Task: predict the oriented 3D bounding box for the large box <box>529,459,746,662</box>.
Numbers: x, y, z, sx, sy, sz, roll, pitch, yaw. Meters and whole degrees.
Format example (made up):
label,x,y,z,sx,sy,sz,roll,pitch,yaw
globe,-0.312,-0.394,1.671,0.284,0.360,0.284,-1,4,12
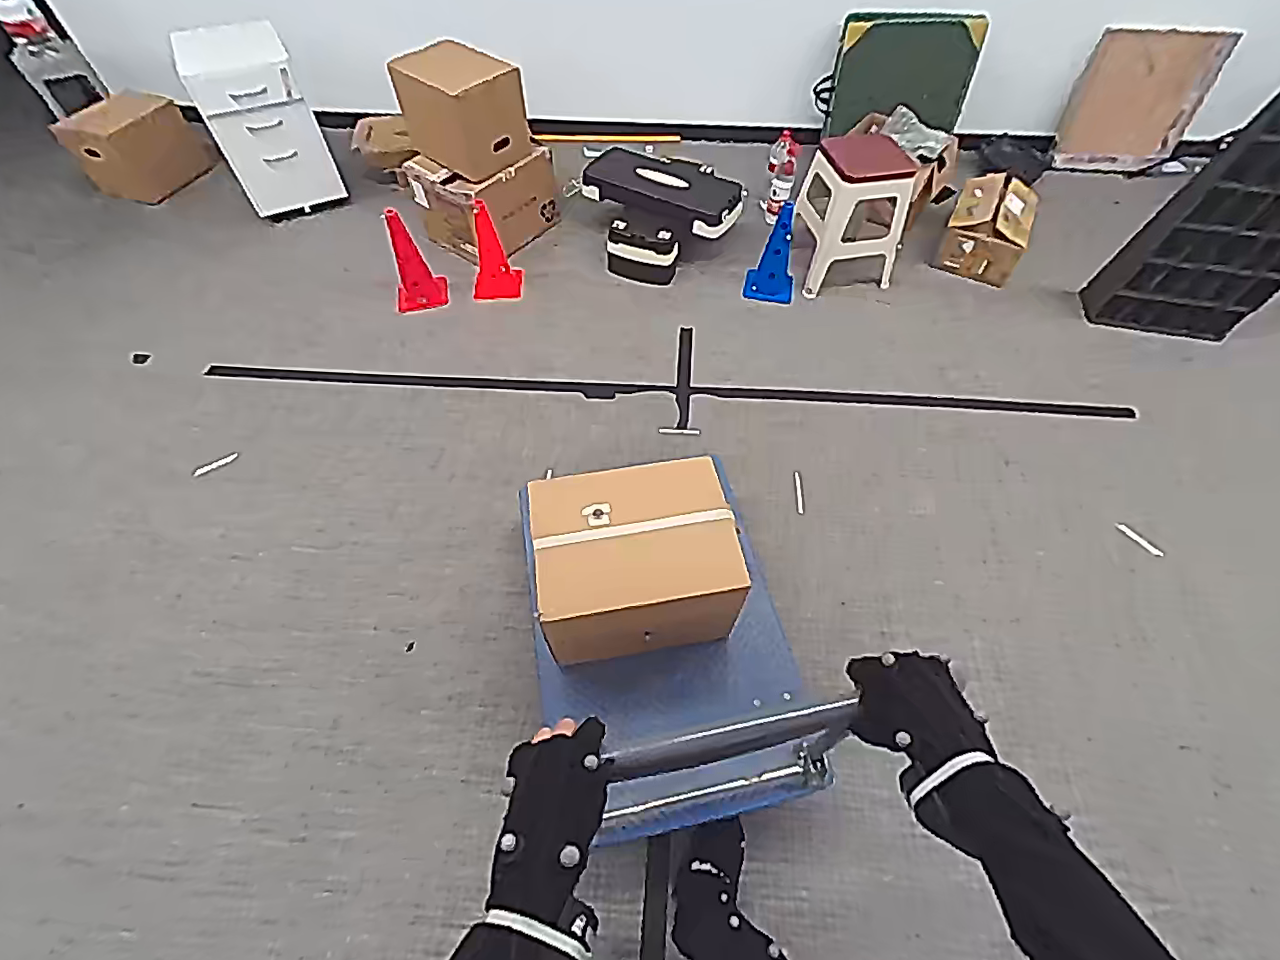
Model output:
label,x,y,z,sx,sy,sz,roll,pitch,yaw
large box,-0.014,0.189,1.225,0.408,0.320,0.320,-9,57,-5
